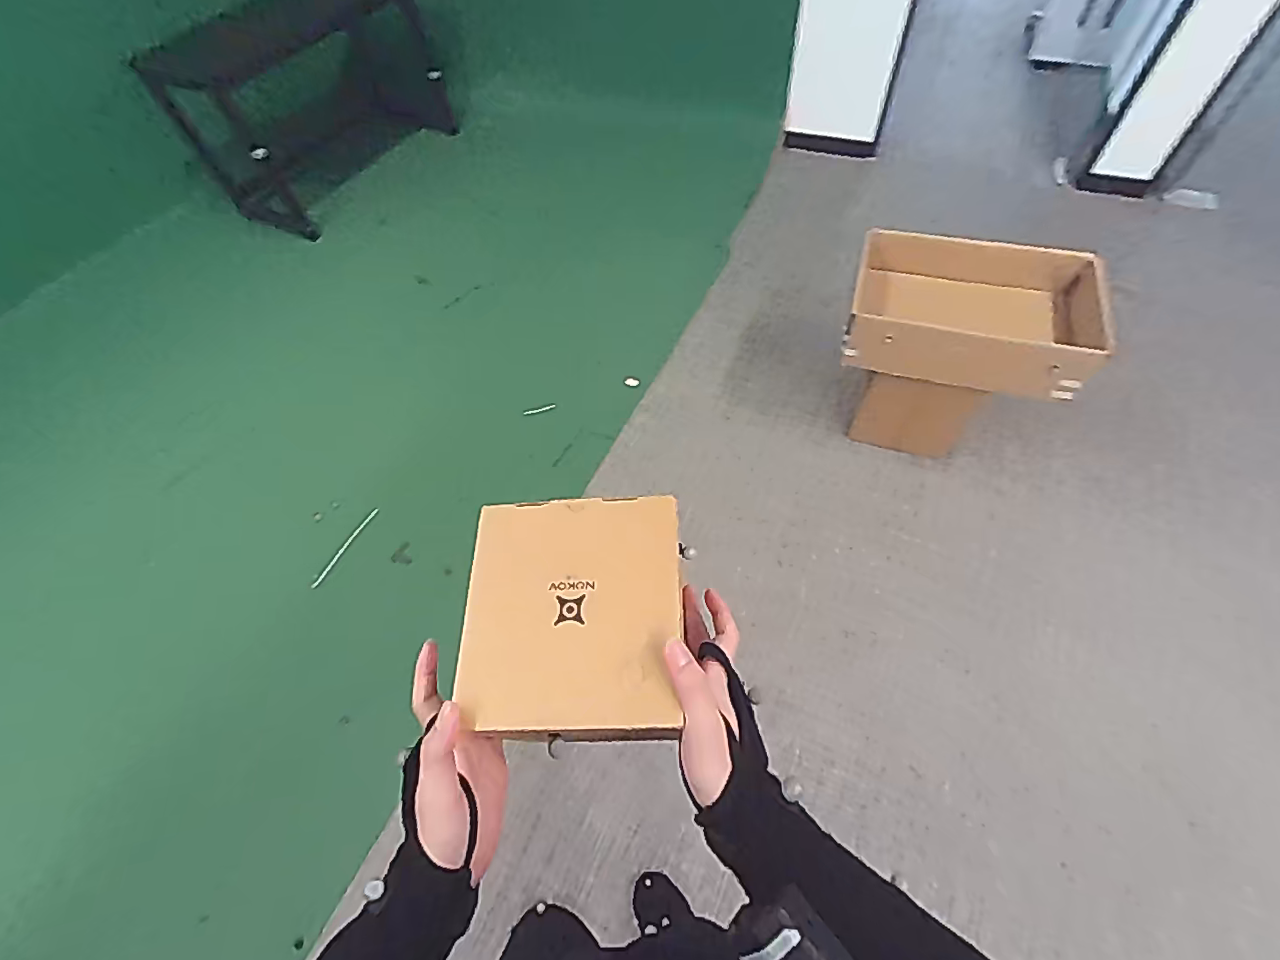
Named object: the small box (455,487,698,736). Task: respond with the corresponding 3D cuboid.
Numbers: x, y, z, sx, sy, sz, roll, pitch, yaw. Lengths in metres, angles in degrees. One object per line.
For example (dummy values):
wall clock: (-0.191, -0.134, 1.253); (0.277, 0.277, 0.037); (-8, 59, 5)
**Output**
small box: (-0.036, 0.122, 0.469); (0.168, 0.176, 0.179); (-2, 61, 6)
